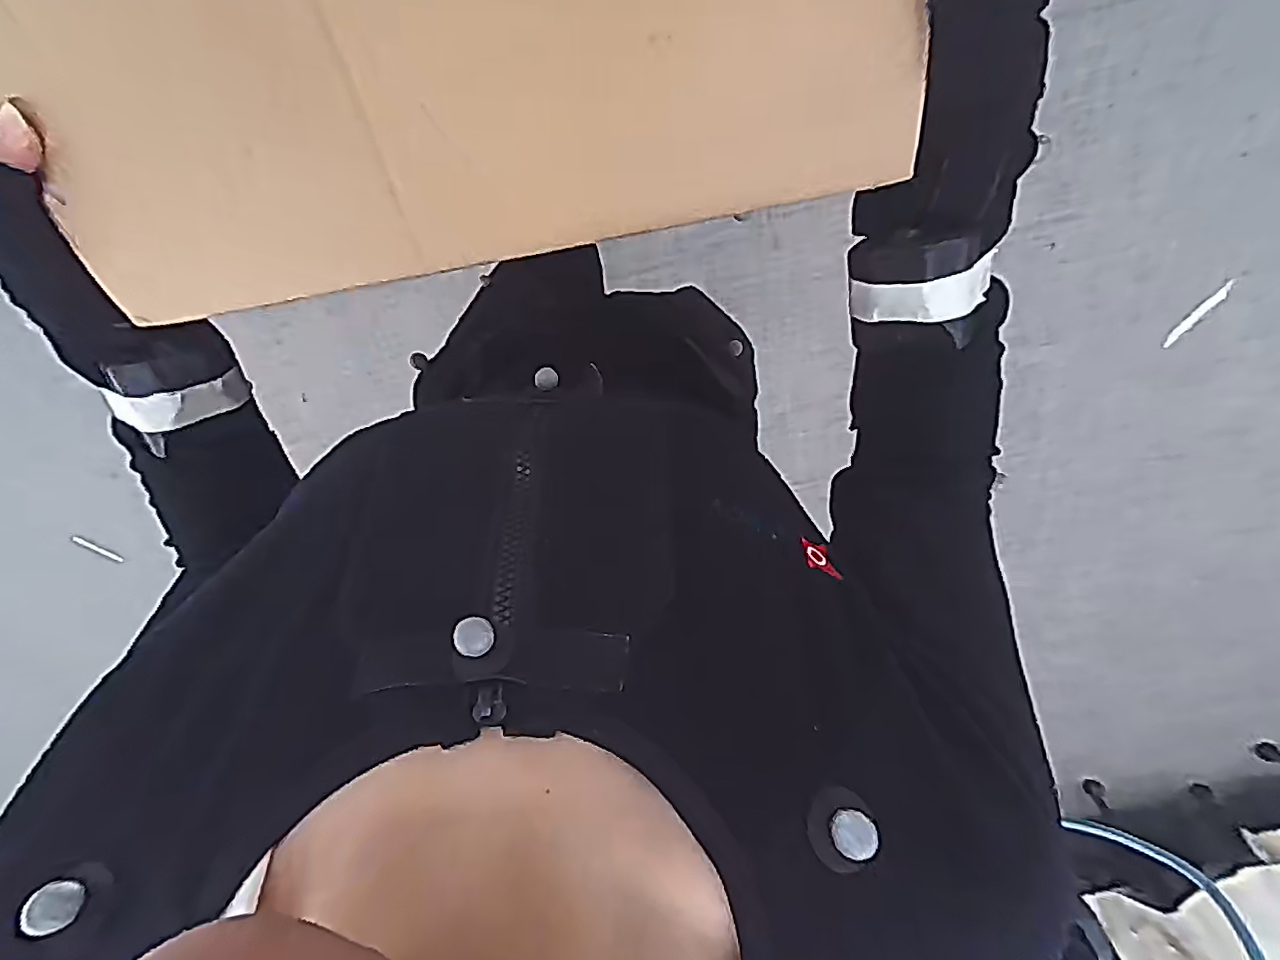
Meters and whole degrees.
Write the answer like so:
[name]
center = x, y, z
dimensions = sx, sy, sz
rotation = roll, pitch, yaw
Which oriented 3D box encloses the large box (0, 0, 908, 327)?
[large box]
center = -0.101, -0.326, 0.306
dimensions = 0.408, 0.320, 0.320
rotation = -9, 127, 6
